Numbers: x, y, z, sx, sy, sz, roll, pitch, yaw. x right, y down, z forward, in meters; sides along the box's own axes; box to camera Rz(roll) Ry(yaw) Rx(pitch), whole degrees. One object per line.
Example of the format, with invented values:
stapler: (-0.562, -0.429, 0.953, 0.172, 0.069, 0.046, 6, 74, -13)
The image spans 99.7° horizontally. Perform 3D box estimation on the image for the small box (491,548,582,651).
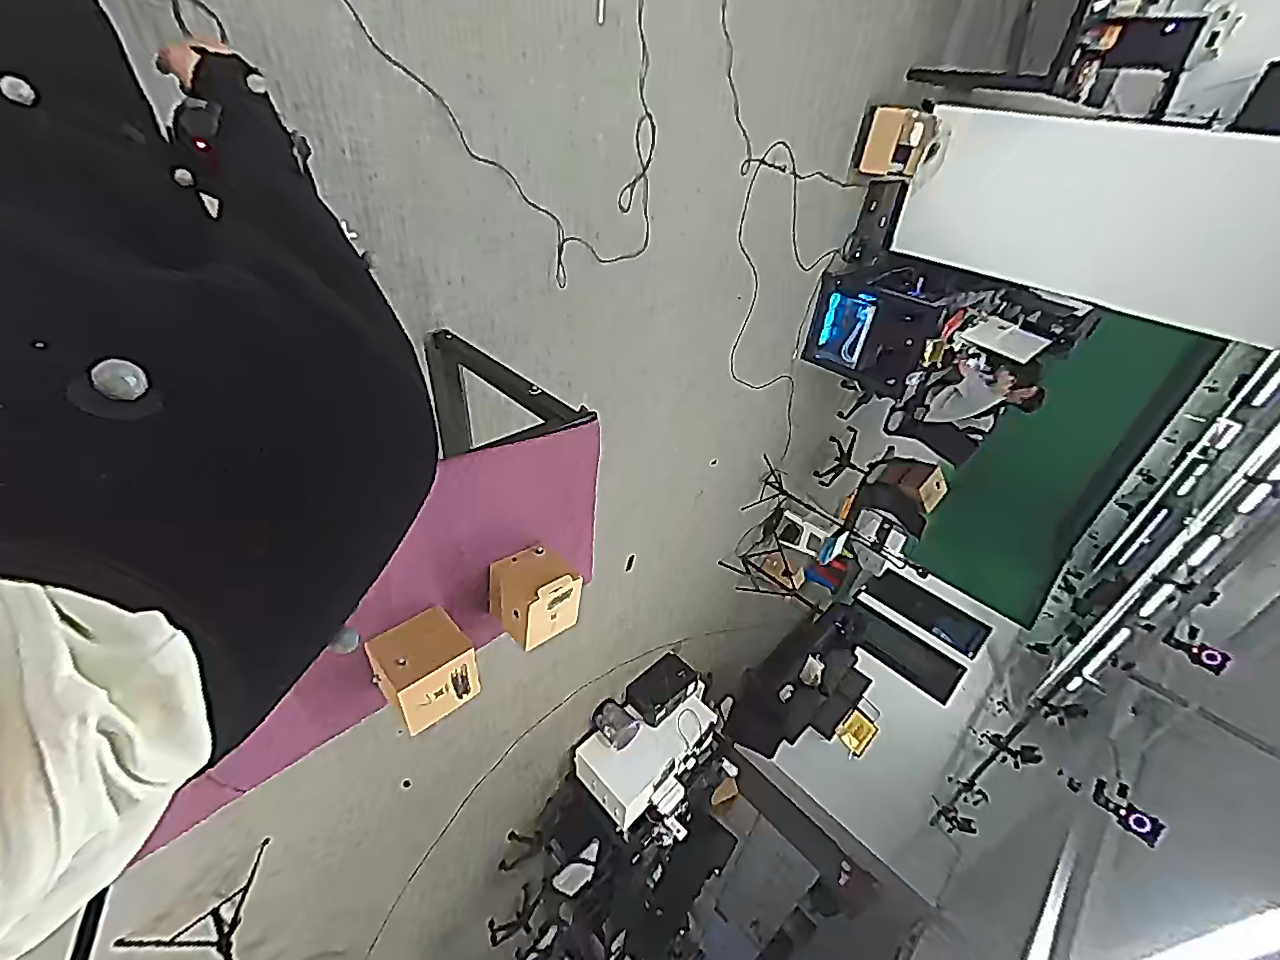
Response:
small box: (-0.272, 0.297, 1.402, 0.168, 0.176, 0.179, -22, 134, -41)
